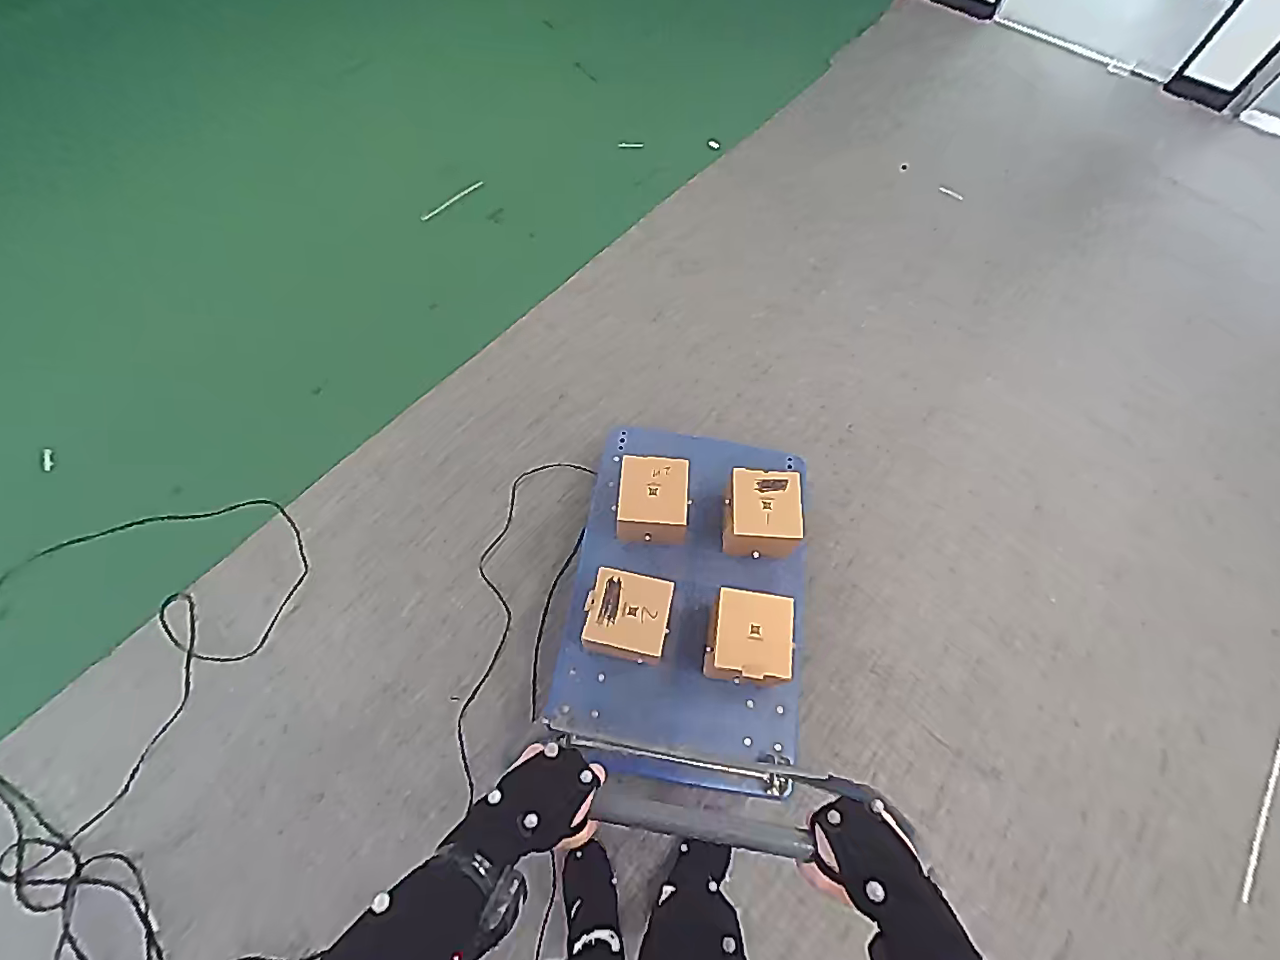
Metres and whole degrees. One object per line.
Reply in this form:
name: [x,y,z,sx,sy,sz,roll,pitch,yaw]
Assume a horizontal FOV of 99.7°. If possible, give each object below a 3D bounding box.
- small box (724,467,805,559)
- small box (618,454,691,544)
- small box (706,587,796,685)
small box: [0.306,0.086,1.363,0.168,0.176,0.179,4,66,0]
small box: [0.035,0.054,1.369,0.168,0.176,0.179,5,65,0]
small box: [0.249,0.360,1.236,0.168,0.176,0.179,9,66,2]
